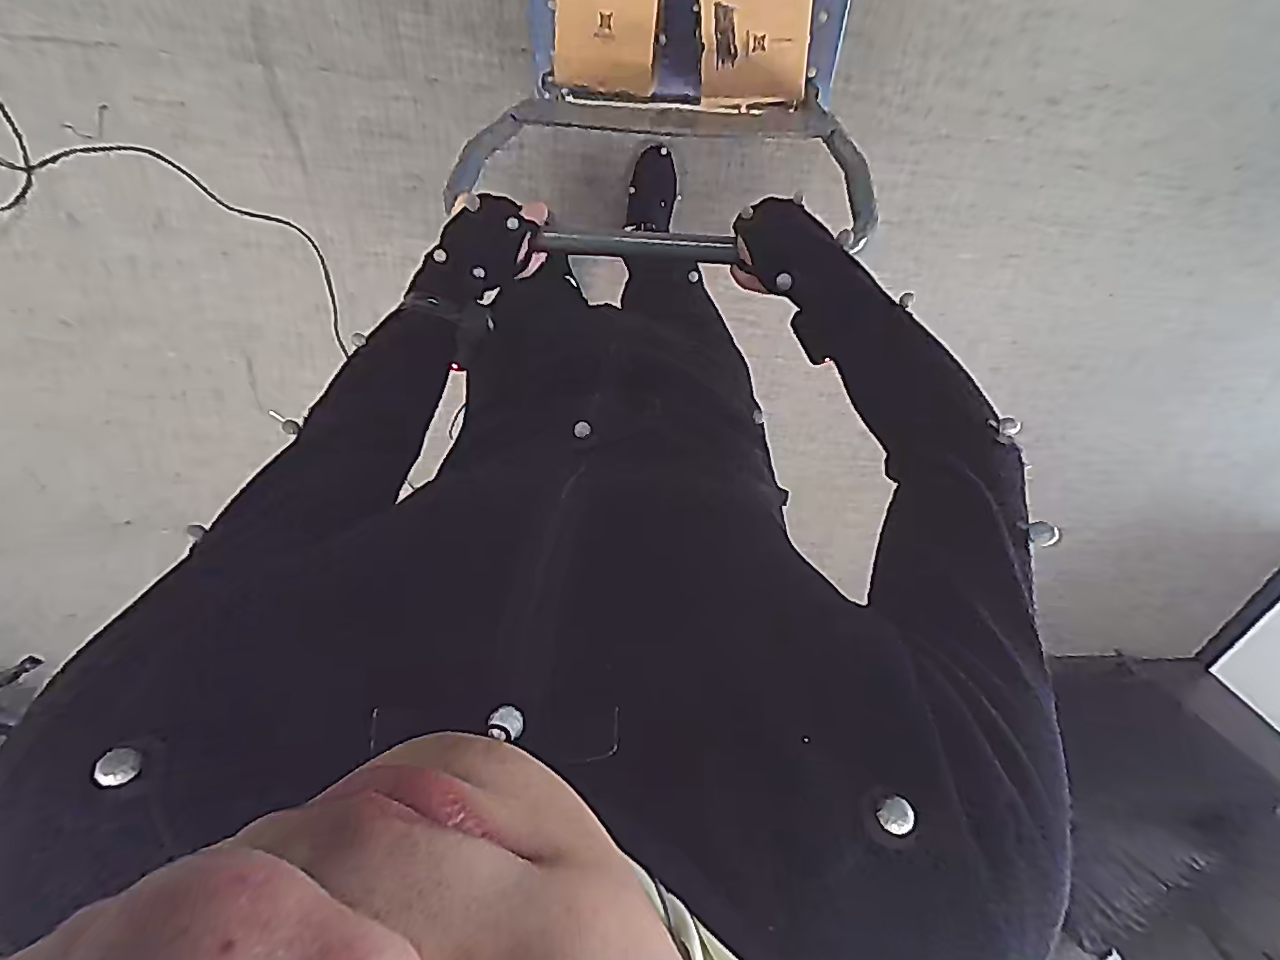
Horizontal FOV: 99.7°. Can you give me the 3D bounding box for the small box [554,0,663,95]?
[{"bbox_3d":[-0.051,-0.789,0.930,0.168,0.176,0.179,8,132,0],"label":"small box"}]
